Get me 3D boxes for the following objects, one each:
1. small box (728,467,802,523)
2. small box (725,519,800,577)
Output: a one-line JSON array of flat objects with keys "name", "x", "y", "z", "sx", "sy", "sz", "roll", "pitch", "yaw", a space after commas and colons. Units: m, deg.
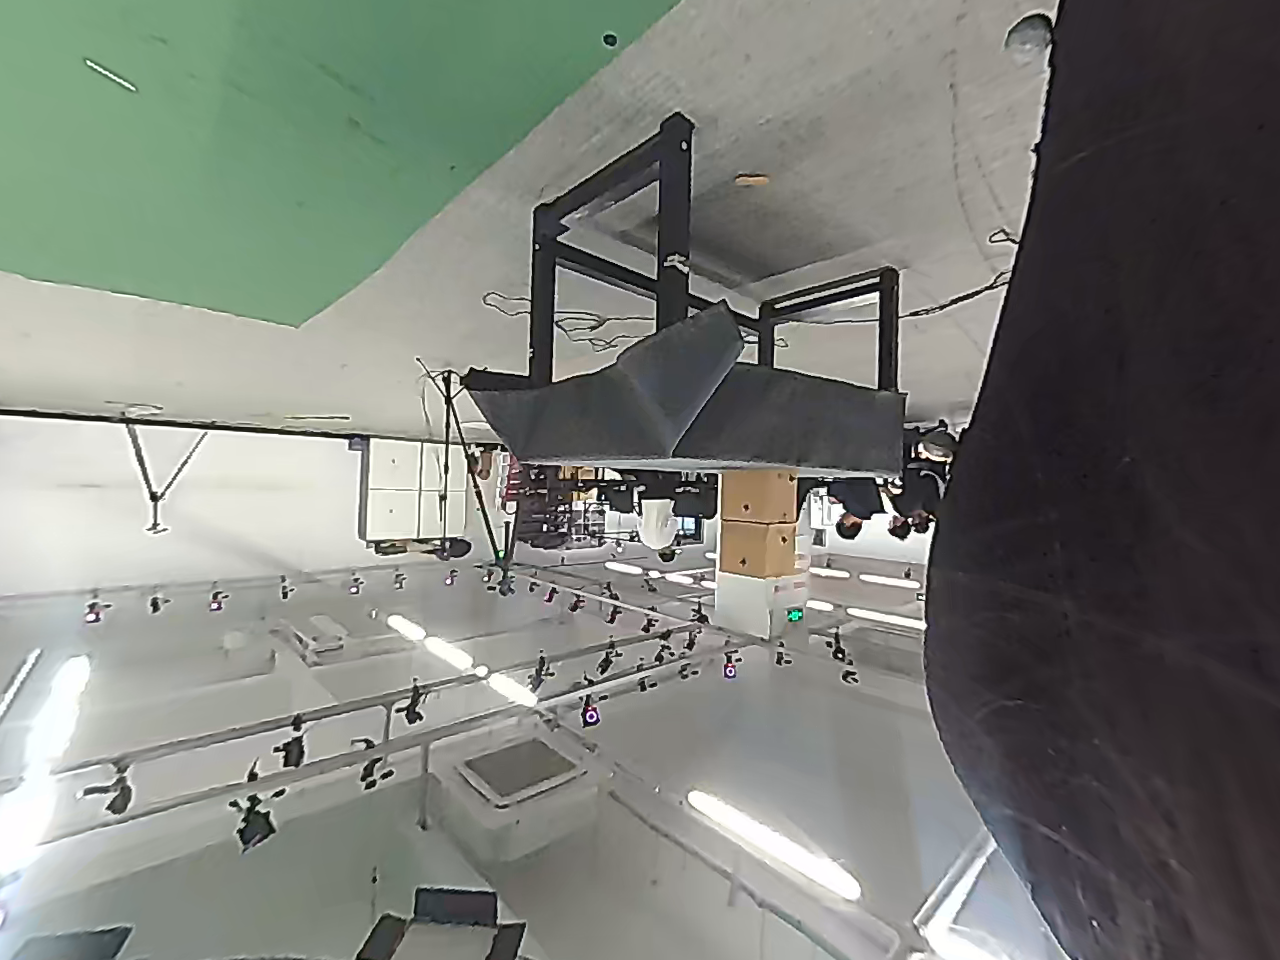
[{"name": "small box", "x": 0.393, "y": 0.043, "z": 1.705, "sx": 0.168, "sy": 0.176, "sz": 0.179, "roll": 3, "pitch": 180, "yaw": -42}, {"name": "small box", "x": 0.388, "y": 0.206, "z": 1.701, "sx": 0.168, "sy": 0.176, "sz": 0.179, "roll": 3, "pitch": 178, "yaw": -43}]
